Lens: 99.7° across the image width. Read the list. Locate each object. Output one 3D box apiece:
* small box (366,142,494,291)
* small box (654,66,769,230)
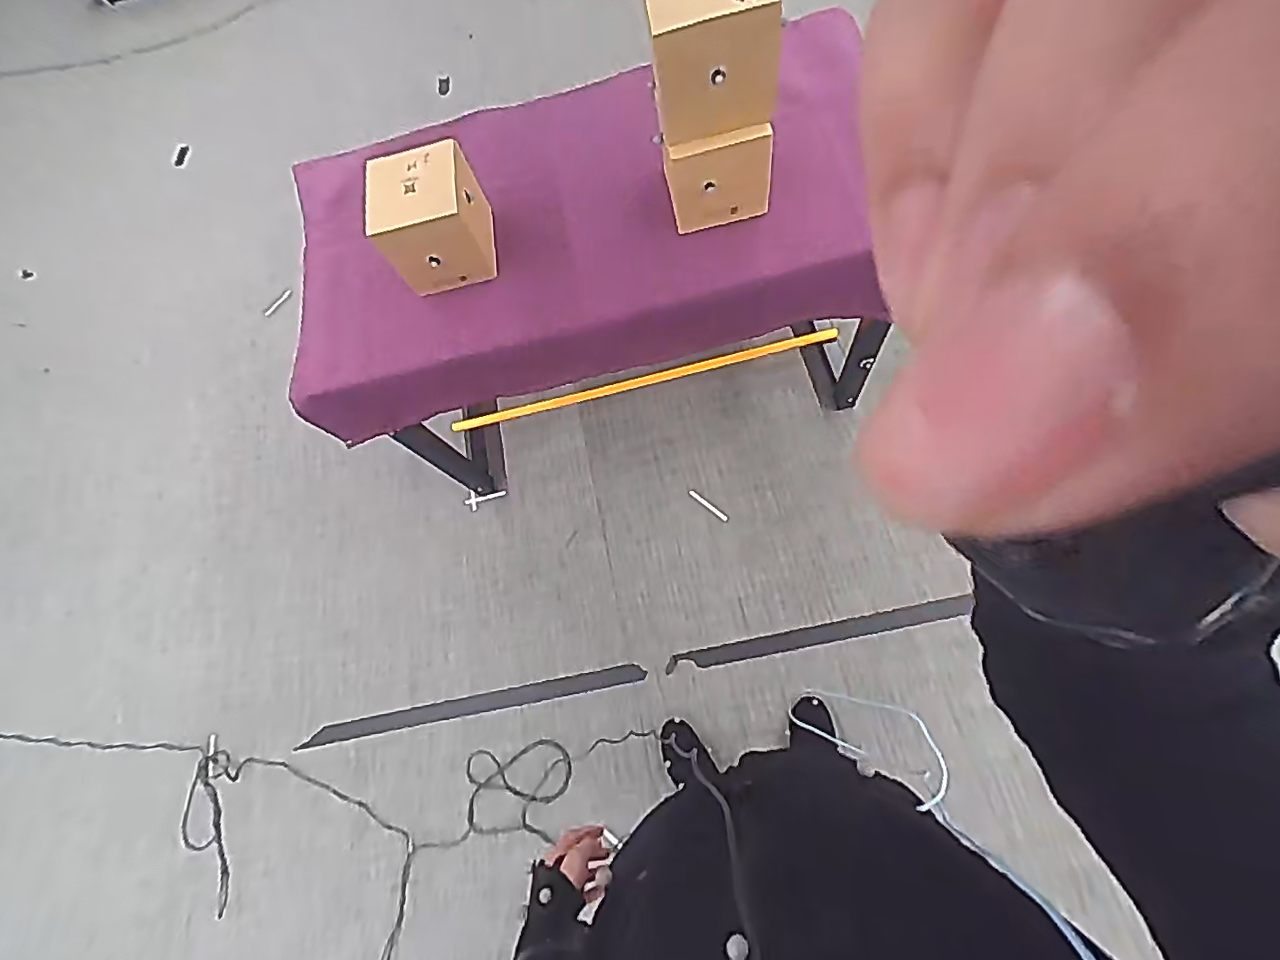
[{"bbox_3d":[-0.381,-0.476,1.007,0.168,0.176,0.179,-11,70,5],"label":"small box"},{"bbox_3d":[0.128,-0.573,0.959,0.168,0.176,0.179,-11,69,6],"label":"small box"}]
